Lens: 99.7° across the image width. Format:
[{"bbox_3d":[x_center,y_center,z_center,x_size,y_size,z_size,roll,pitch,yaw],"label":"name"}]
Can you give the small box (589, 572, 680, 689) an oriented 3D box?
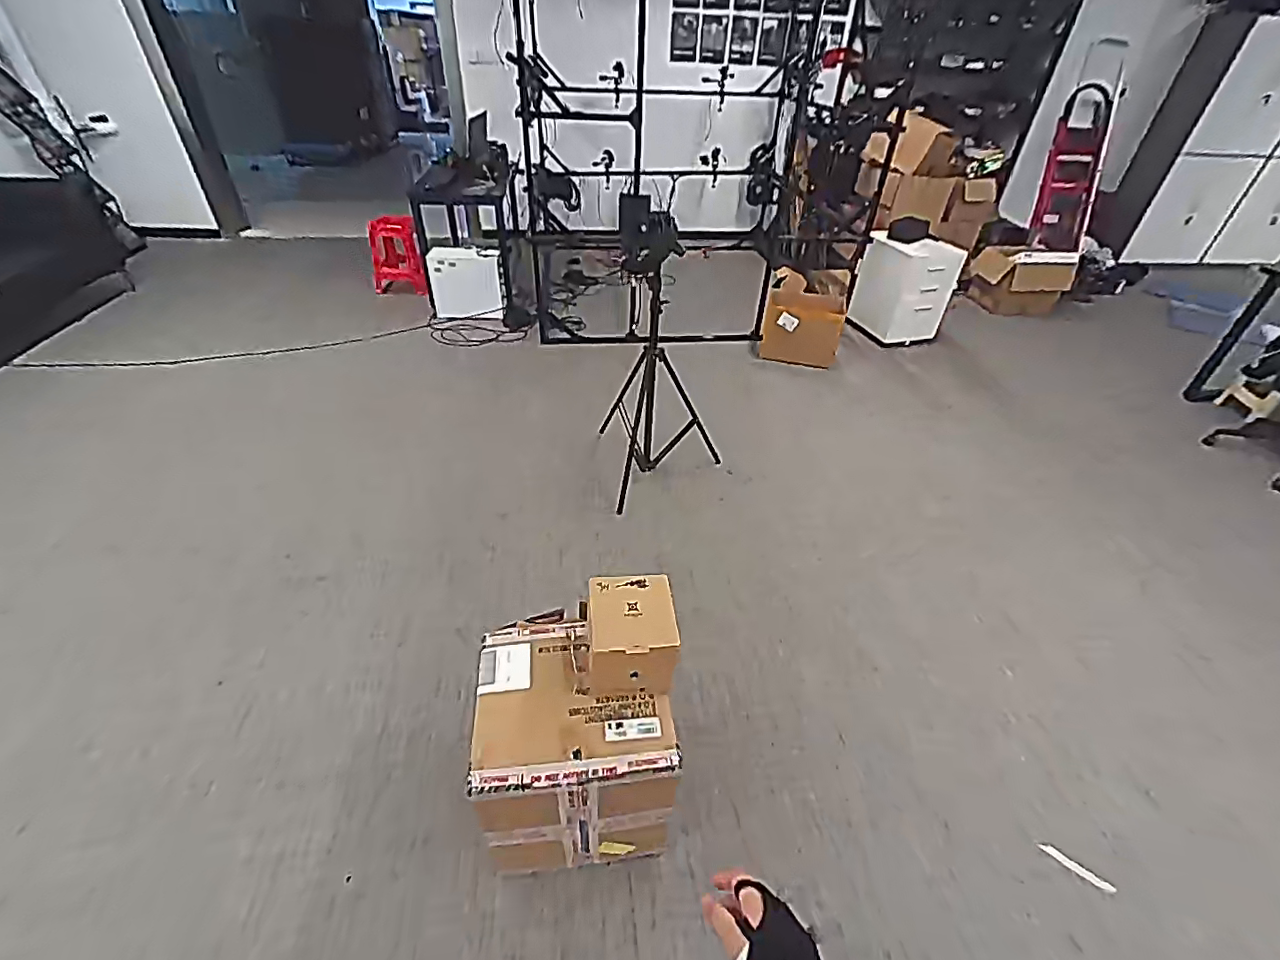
[{"bbox_3d":[-0.018,0.311,1.103,0.168,0.176,0.179,-1,42,-8],"label":"small box"}]
